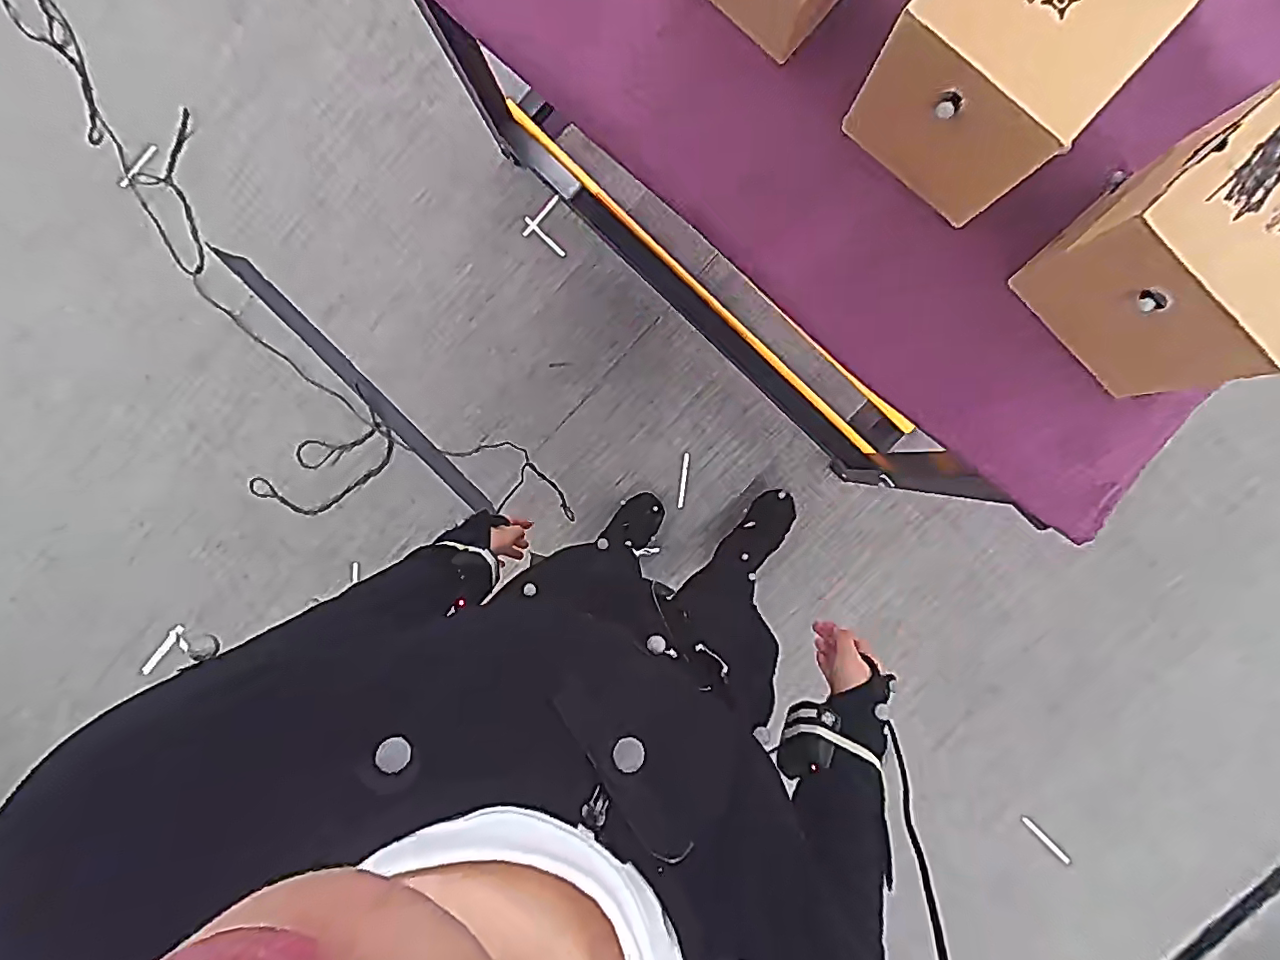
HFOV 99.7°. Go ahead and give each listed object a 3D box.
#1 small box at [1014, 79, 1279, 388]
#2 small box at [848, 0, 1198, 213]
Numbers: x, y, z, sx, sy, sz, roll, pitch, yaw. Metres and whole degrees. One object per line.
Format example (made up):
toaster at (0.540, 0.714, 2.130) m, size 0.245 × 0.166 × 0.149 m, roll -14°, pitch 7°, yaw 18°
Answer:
small box at (0.515, -0.207, 0.513) m, size 0.168 × 0.176 × 0.179 m, roll -43°, pitch 90°, yaw 3°
small box at (0.338, -0.391, 0.519) m, size 0.179 × 0.176 × 0.168 m, roll 42°, pitch 94°, yaw 1°
